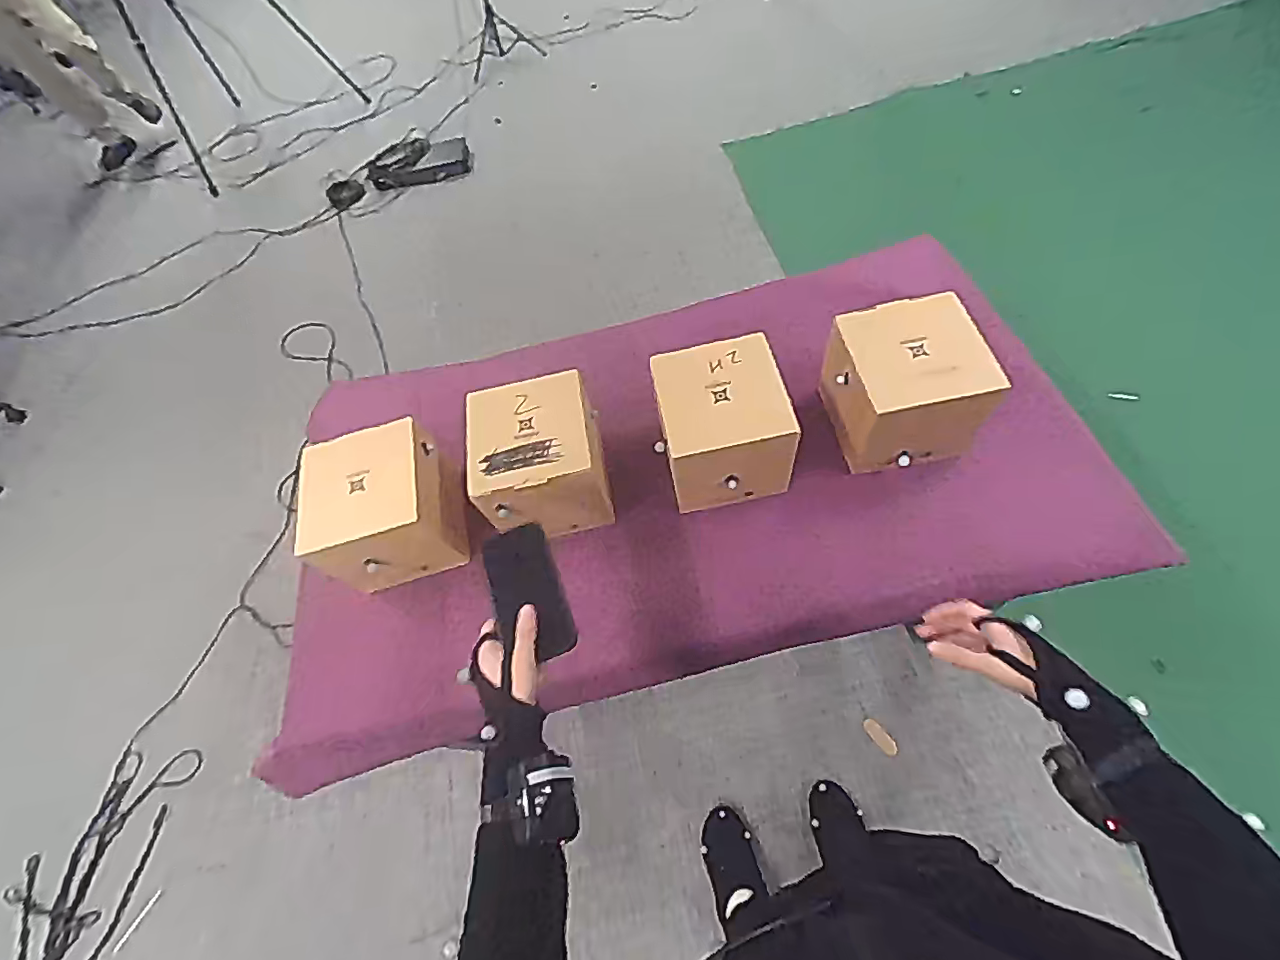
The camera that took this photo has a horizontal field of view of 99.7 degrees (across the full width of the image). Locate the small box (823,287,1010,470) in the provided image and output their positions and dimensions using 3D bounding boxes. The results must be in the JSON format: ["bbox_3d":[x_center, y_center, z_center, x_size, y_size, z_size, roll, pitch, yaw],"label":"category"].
[{"bbox_3d":[0.374,-0.139,0.773,0.168,0.176,0.179,-10,60,4],"label":"small box"}]

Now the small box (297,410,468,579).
[{"bbox_3d":[-0.368,0.032,0.798,0.168,0.176,0.179,-17,60,0],"label":"small box"}]

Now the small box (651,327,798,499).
[{"bbox_3d":[0.119,-0.085,0.784,0.168,0.176,0.179,-12,60,3],"label":"small box"}]
